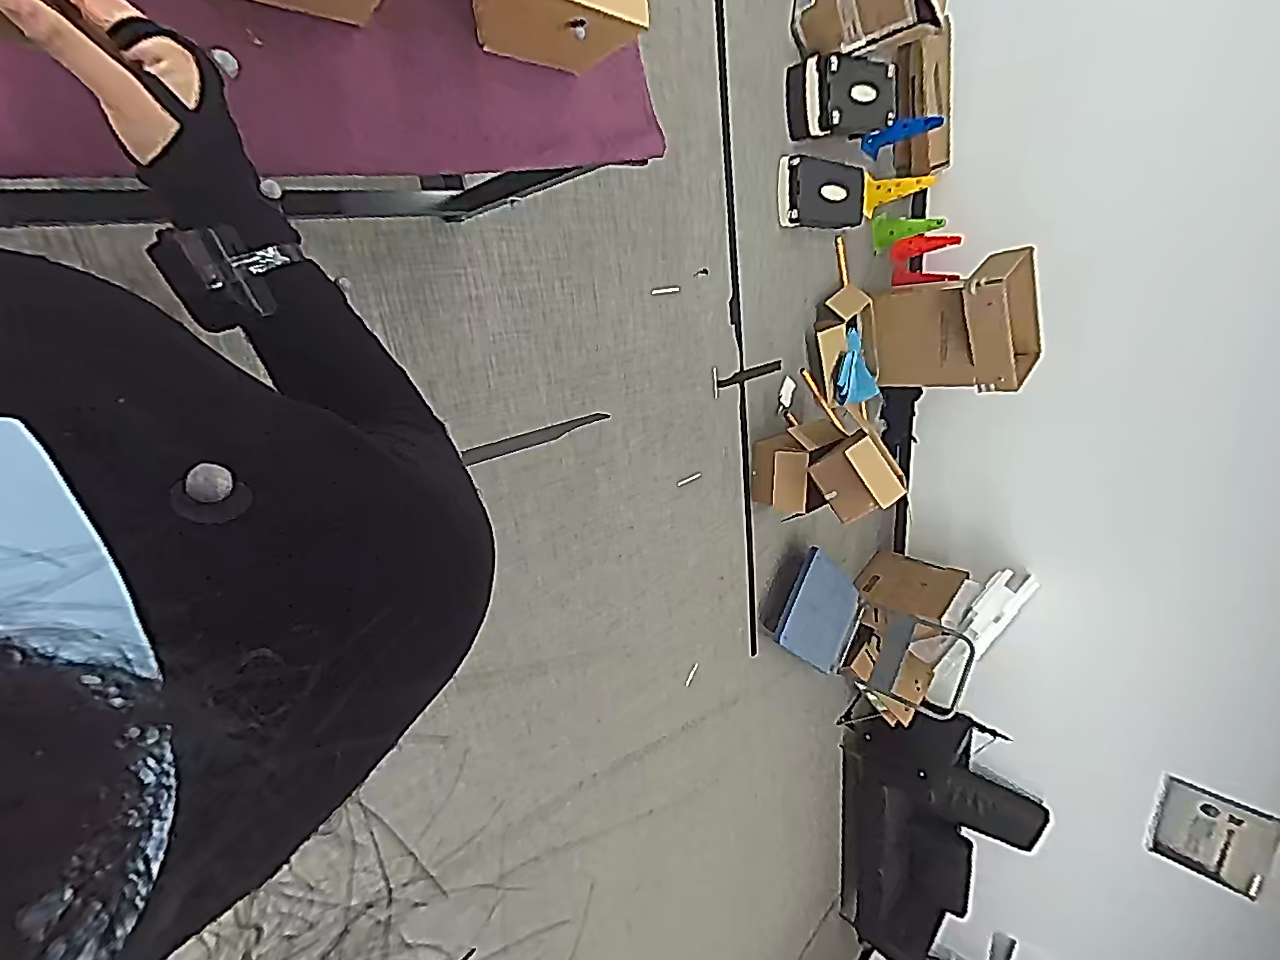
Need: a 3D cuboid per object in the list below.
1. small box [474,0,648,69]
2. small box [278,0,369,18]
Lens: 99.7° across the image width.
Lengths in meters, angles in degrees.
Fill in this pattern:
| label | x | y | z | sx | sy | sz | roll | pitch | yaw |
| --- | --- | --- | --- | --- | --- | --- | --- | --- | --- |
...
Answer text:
| label | x | y | z | sx | sy | sz | roll | pitch | yaw |
| --- | --- | --- | --- | --- | --- | --- | --- | --- | --- |
| small box | -0.112 | -0.693 | 0.733 | 0.179 | 0.176 | 0.168 | -20 | 113 | -39 |
| small box | -0.351 | -0.592 | 0.520 | 0.179 | 0.176 | 0.168 | -21 | 115 | -40 |
